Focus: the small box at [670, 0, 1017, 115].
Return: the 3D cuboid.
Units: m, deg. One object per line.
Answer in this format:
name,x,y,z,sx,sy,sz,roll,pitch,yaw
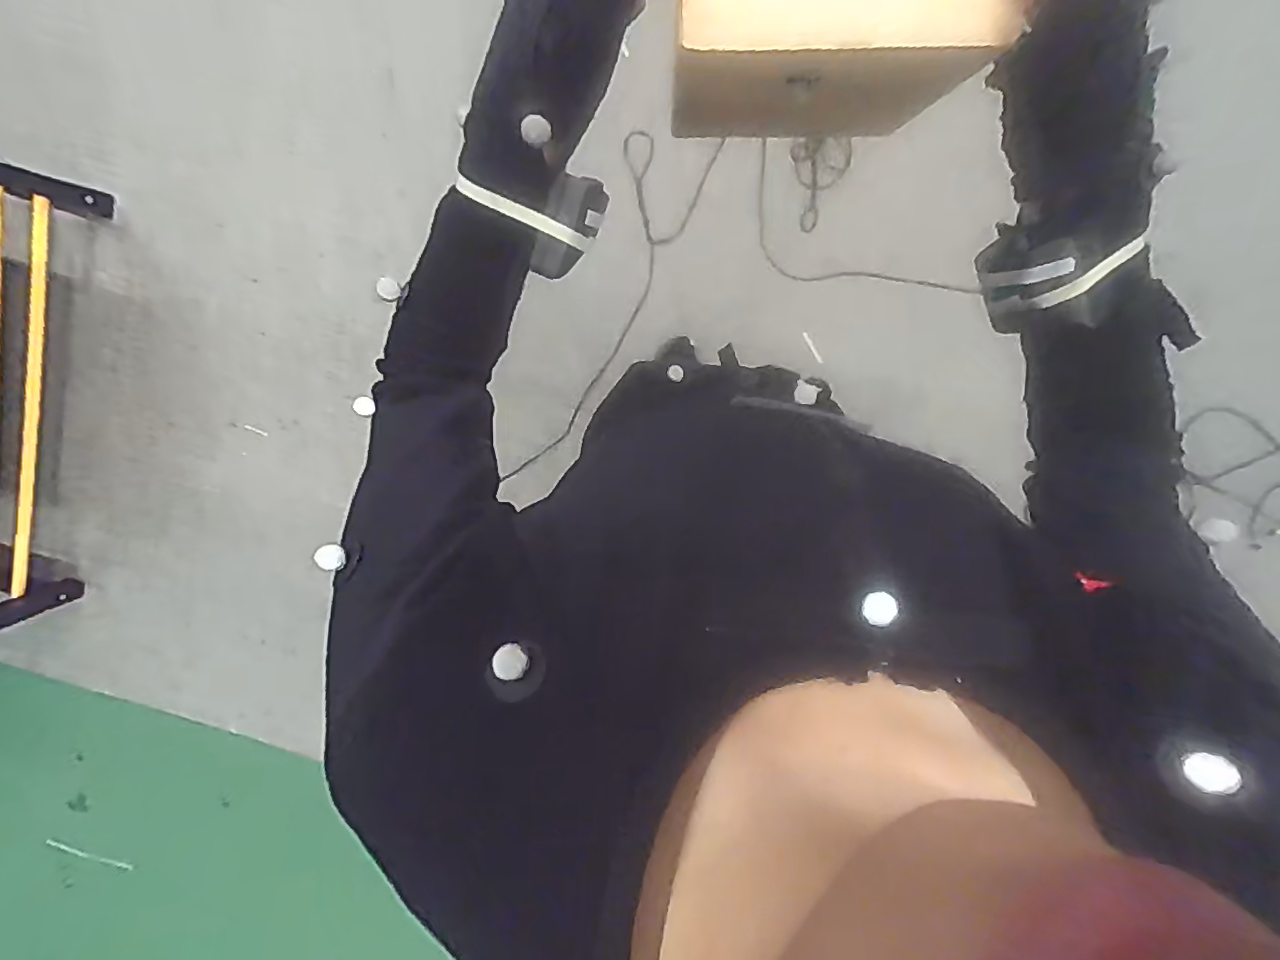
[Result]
small box,0.107,-0.338,0.326,0.179,0.176,0.168,1,110,1
